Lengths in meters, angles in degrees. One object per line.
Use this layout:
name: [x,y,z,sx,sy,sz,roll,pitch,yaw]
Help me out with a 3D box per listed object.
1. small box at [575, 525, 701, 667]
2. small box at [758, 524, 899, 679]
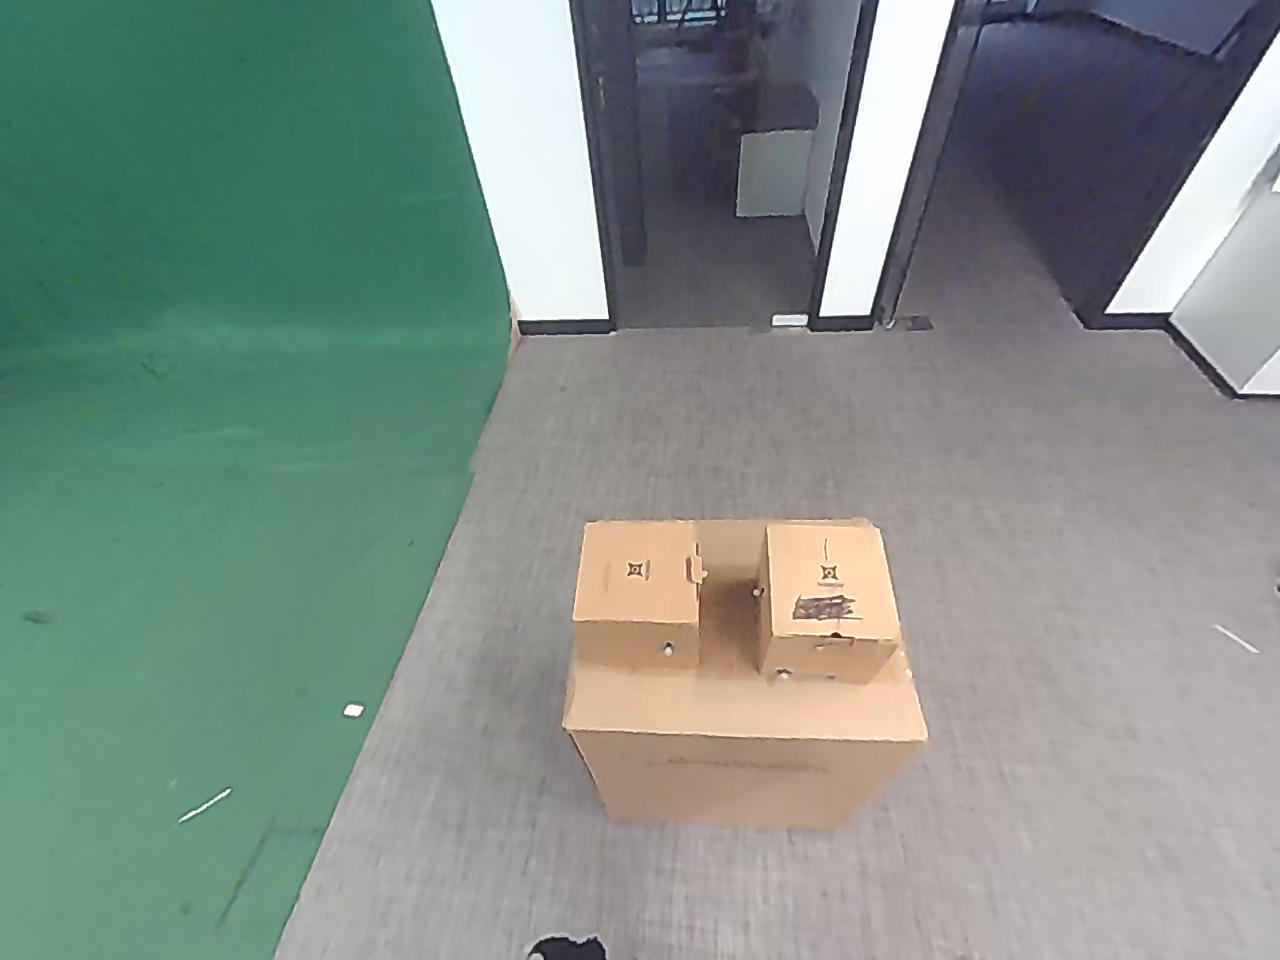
small box: [0.007,0.185,0.852,0.179,0.176,0.168,-2,50,7]
small box: [0.270,0.186,0.817,0.168,0.176,0.179,2,52,7]
